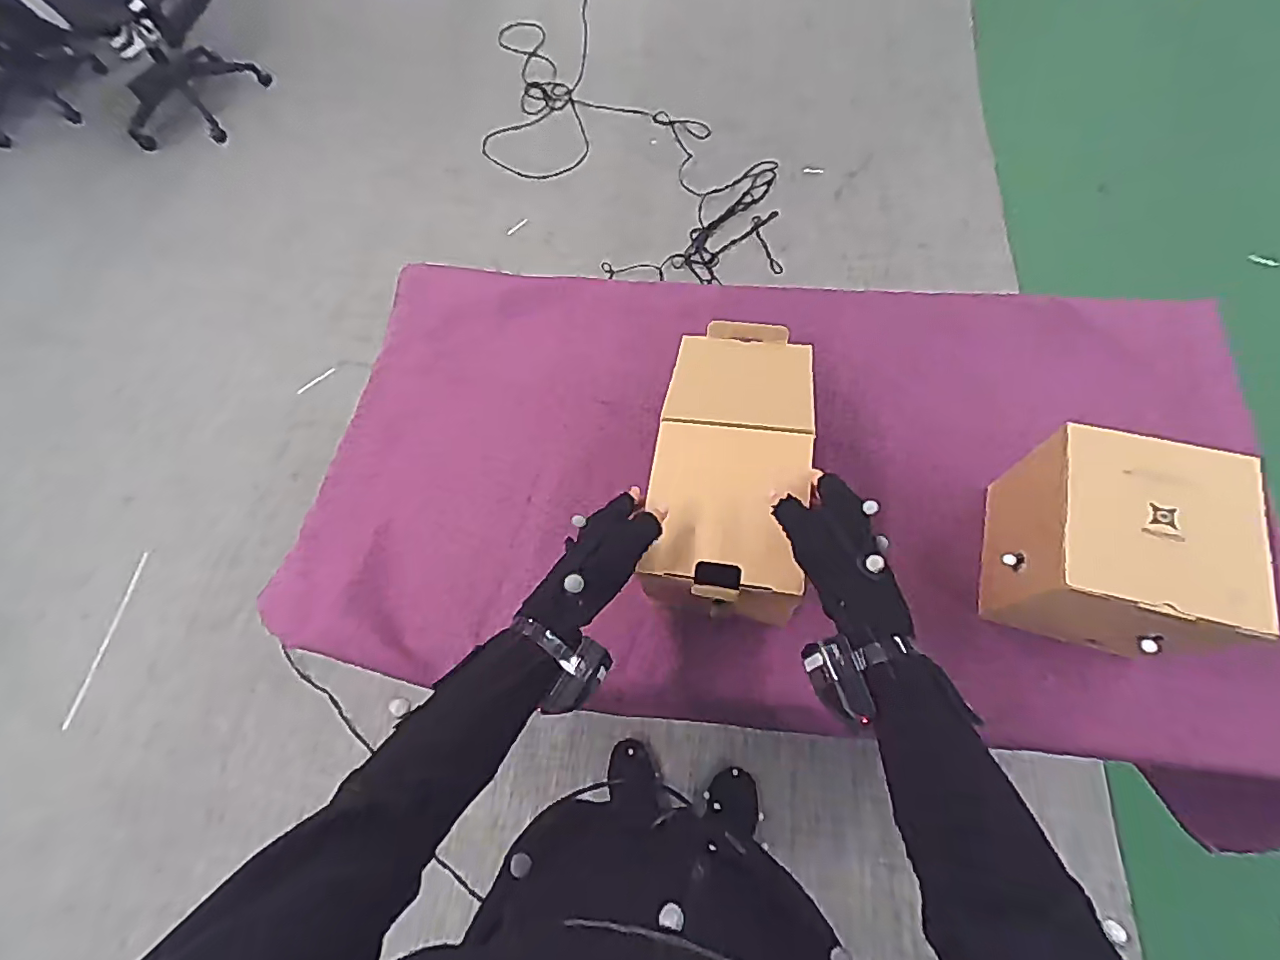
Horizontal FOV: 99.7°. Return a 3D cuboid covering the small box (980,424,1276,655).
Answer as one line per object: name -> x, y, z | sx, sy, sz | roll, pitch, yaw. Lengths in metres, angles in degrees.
small box -> 0.486, 0.071, 0.568 | 0.168, 0.176, 0.179 | 14, 68, 12

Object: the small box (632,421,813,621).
small box -> 0.097, 0.054, 0.617 | 0.168, 0.176, 0.179 | 6, 67, 11
